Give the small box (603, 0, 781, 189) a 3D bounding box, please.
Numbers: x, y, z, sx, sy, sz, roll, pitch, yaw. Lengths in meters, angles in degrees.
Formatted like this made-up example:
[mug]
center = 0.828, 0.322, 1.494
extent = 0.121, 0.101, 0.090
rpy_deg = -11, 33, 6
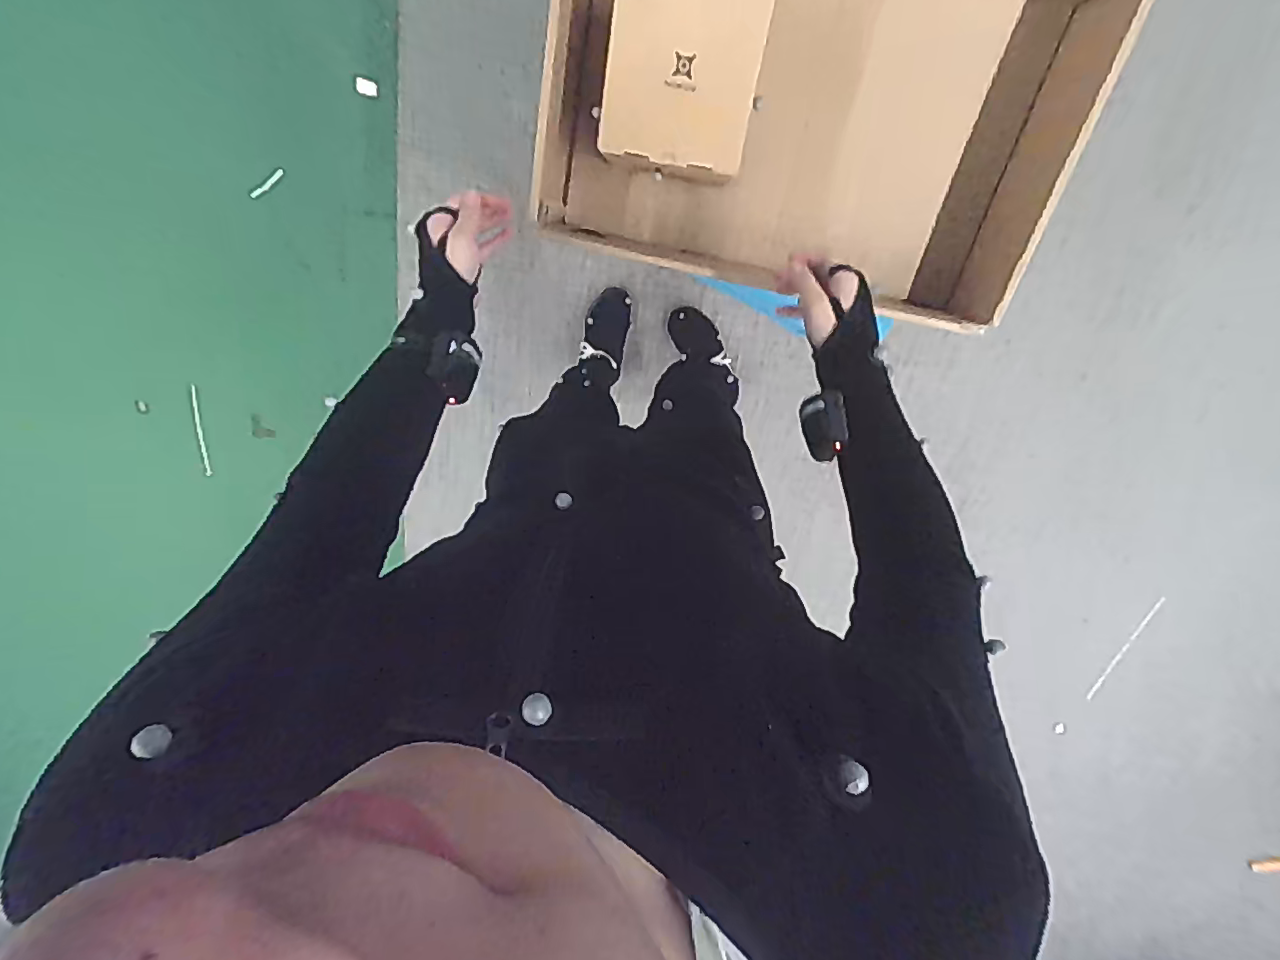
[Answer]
[small box]
center = 0.054, -0.469, 0.656
extent = 0.168, 0.176, 0.179
rpy_deg = 10, 116, -1
